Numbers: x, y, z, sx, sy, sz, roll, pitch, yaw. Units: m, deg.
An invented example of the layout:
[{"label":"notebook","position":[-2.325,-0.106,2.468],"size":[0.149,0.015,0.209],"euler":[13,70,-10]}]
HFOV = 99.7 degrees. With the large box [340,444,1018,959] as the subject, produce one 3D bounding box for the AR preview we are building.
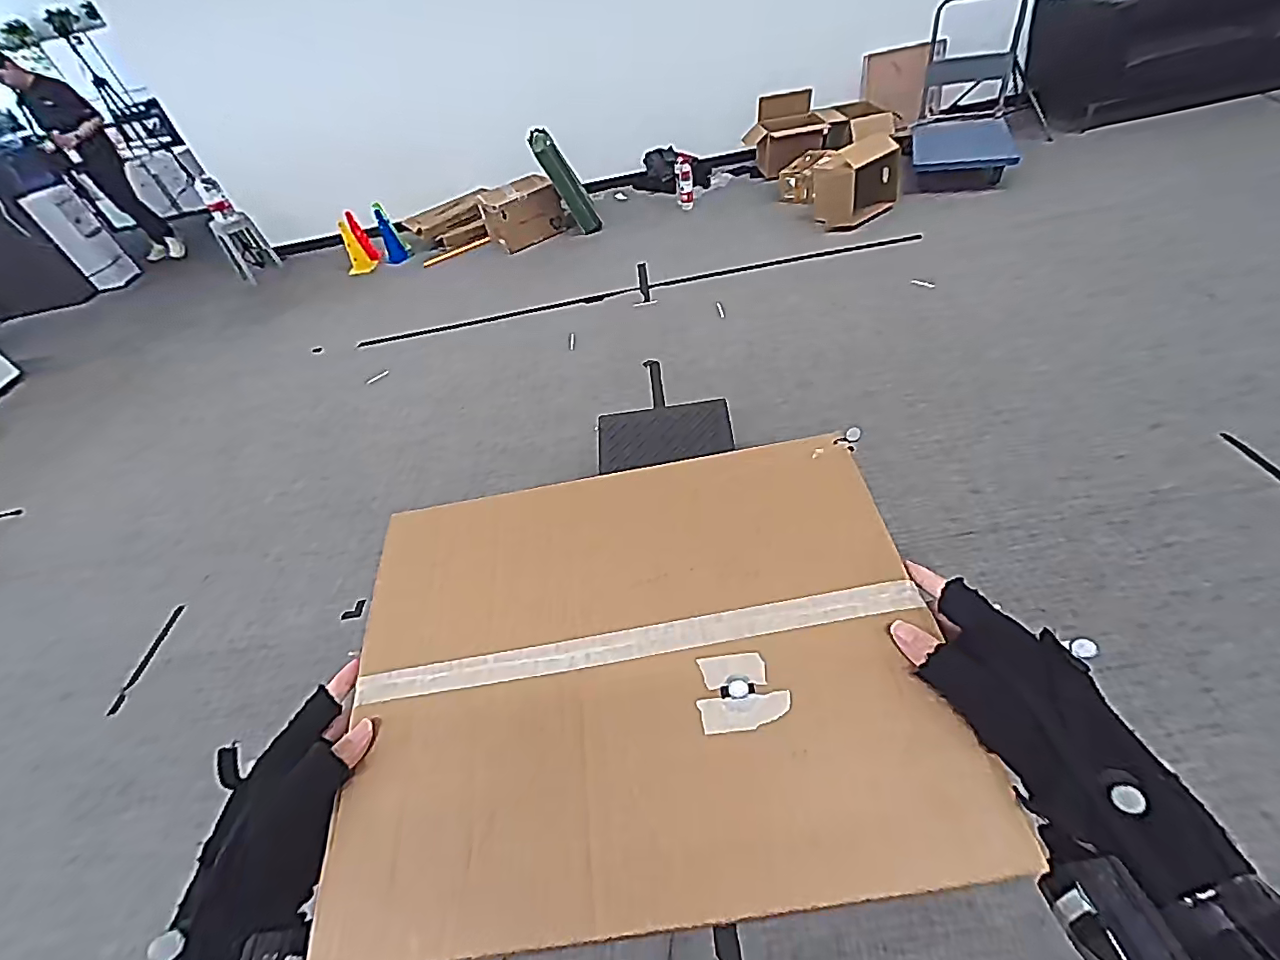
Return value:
[{"label":"large box","position":[0.019,0.212,0.513],"size":[0.408,0.320,0.320],"euler":[-10,53,2]}]
